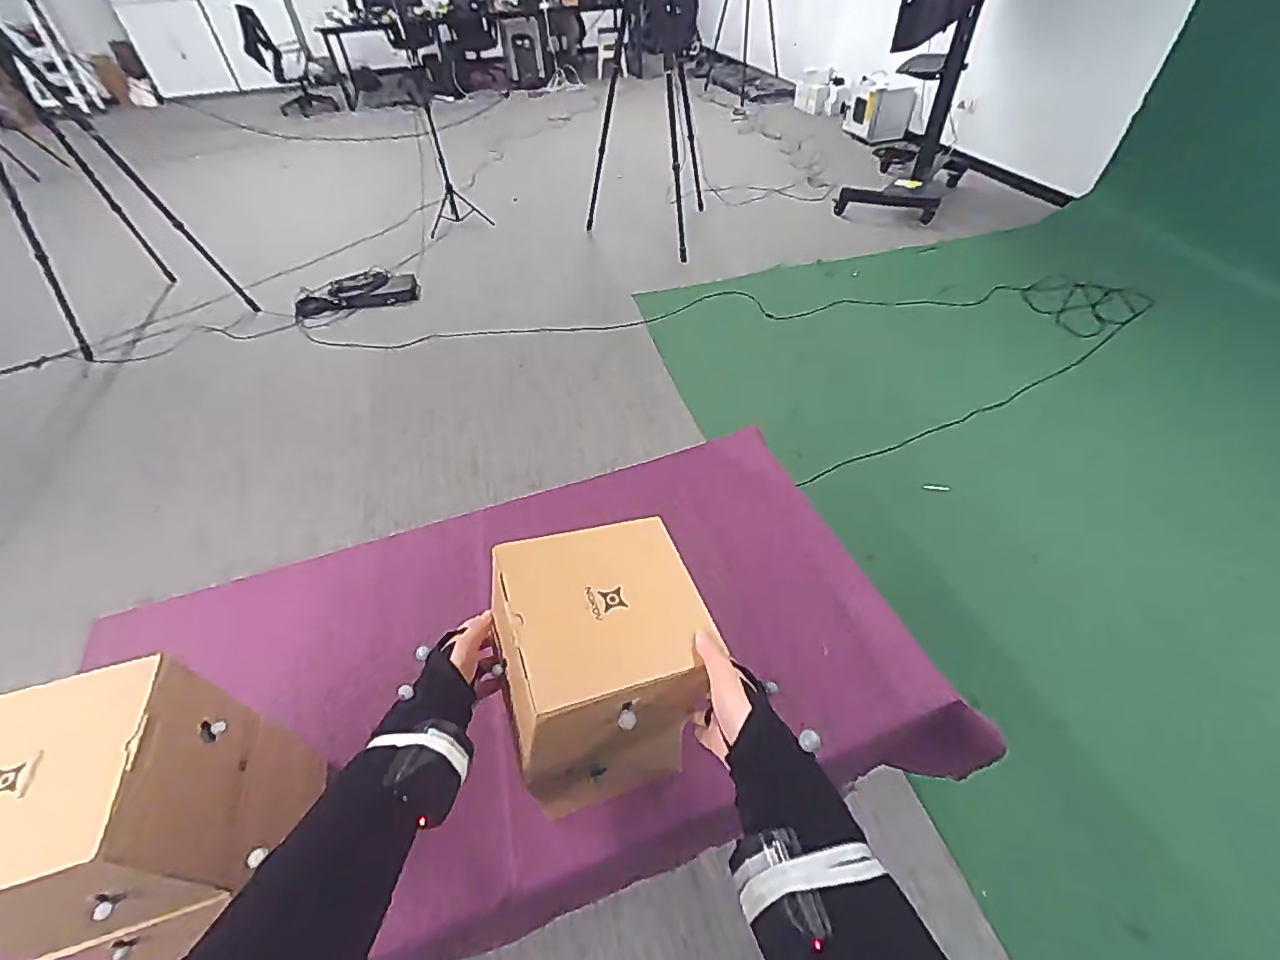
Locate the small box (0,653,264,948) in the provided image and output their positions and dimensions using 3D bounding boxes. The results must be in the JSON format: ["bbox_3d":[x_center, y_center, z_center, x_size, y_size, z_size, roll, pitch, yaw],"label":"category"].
[{"bbox_3d":[-0.481,0.286,0.484,0.179,0.176,0.168,-14,47,-9],"label":"small box"}]

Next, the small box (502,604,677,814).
[{"bbox_3d":[-0.059,0.290,0.681,0.179,0.176,0.168,-15,48,-11],"label":"small box"}]

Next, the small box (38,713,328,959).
[{"bbox_3d":[-0.475,0.398,0.603,0.168,0.176,0.179,-15,47,-9],"label":"small box"}]
